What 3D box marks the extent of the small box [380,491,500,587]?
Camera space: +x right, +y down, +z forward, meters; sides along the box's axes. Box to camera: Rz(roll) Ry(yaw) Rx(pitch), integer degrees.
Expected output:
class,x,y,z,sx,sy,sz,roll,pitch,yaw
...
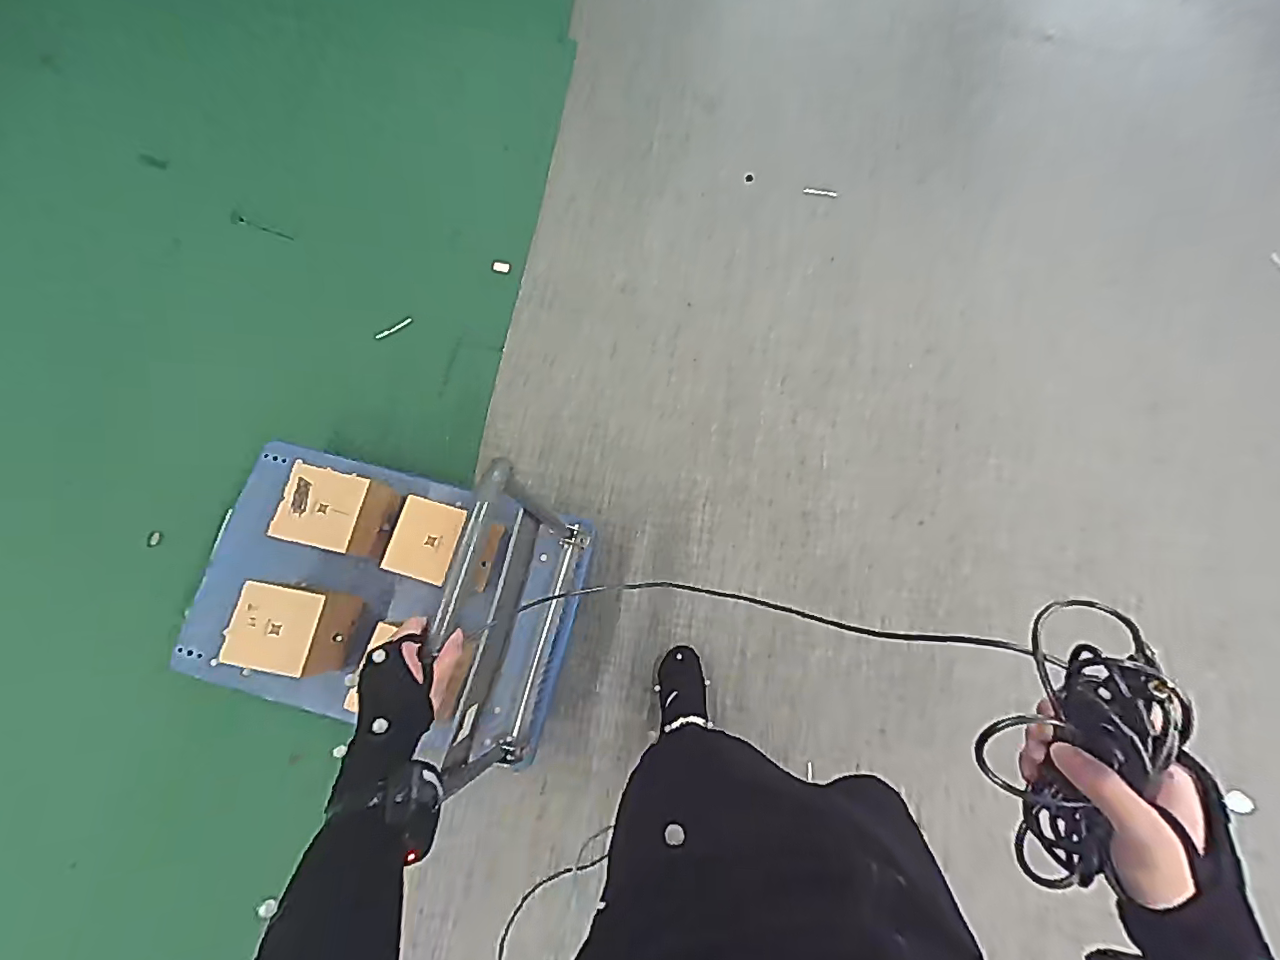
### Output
class,x,y,z,sx,sy,sz,roll,pitch,yaw
small box,-0.436,0.139,1.208,0.179,0.176,0.168,16,77,2

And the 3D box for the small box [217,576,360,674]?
class,x,y,z,sx,sy,sz,roll,pitch,yaw
small box,-0.743,0.308,1.167,0.179,0.176,0.168,11,77,2

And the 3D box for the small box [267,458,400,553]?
class,x,y,z,sx,sy,sz,roll,pitch,yaw
small box,-0.682,0.066,1.223,0.179,0.176,0.168,13,78,2
